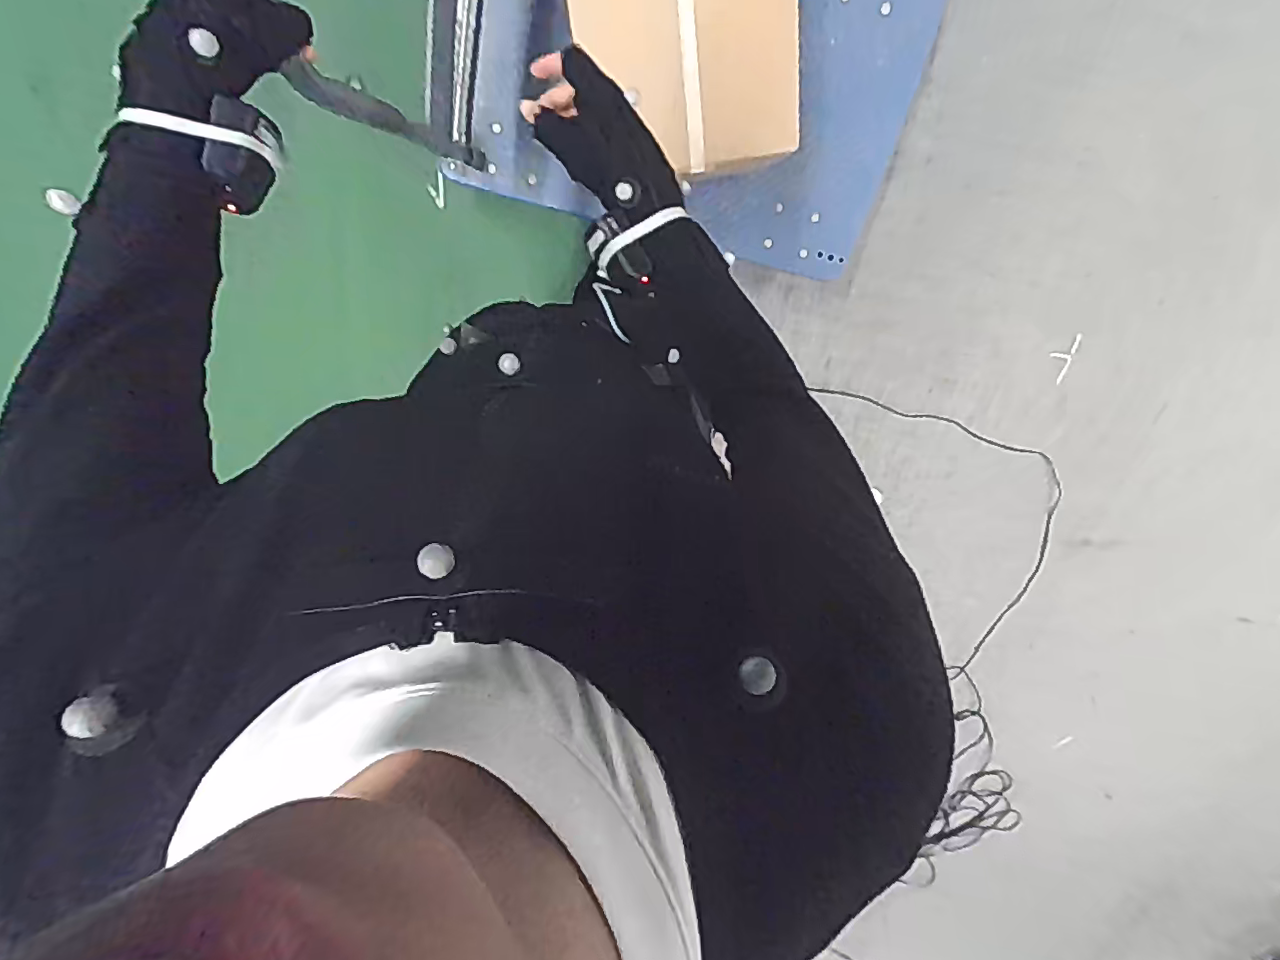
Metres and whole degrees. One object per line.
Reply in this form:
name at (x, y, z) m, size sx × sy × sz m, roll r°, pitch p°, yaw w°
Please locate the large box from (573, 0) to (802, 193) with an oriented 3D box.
large box at (0.062, -0.714, 0.866) m, size 0.320 × 0.320 × 0.408 m, roll -7°, pitch 114°, yaw 1°
